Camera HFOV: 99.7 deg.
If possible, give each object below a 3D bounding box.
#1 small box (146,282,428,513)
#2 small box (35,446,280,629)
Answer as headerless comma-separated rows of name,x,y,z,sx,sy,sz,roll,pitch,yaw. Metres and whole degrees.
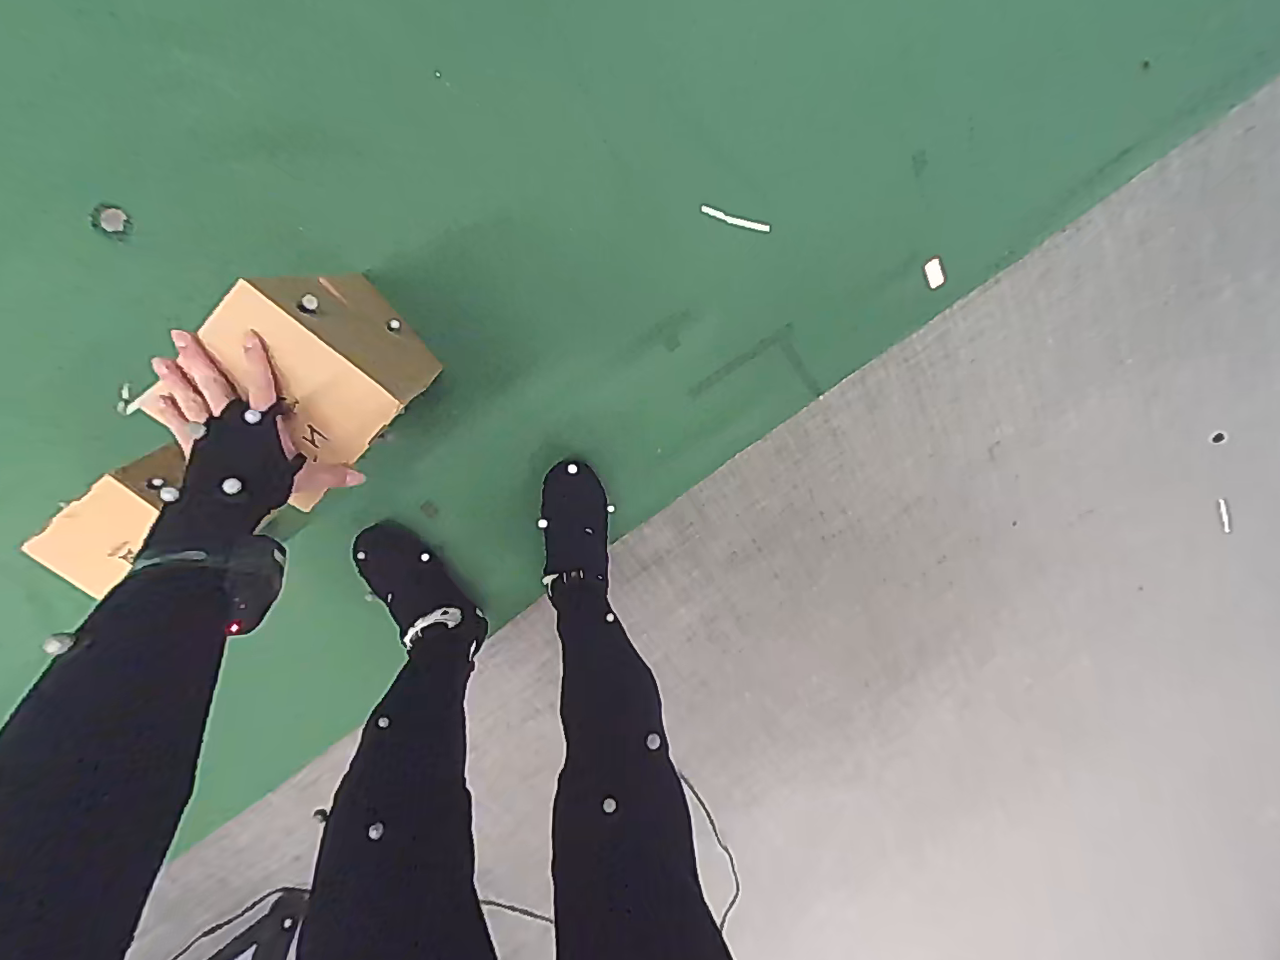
small box,-0.374,-0.099,0.612,0.179,0.176,0.168,41,100,-21
small box,-0.692,0.077,0.805,0.168,0.176,0.179,-37,112,6
